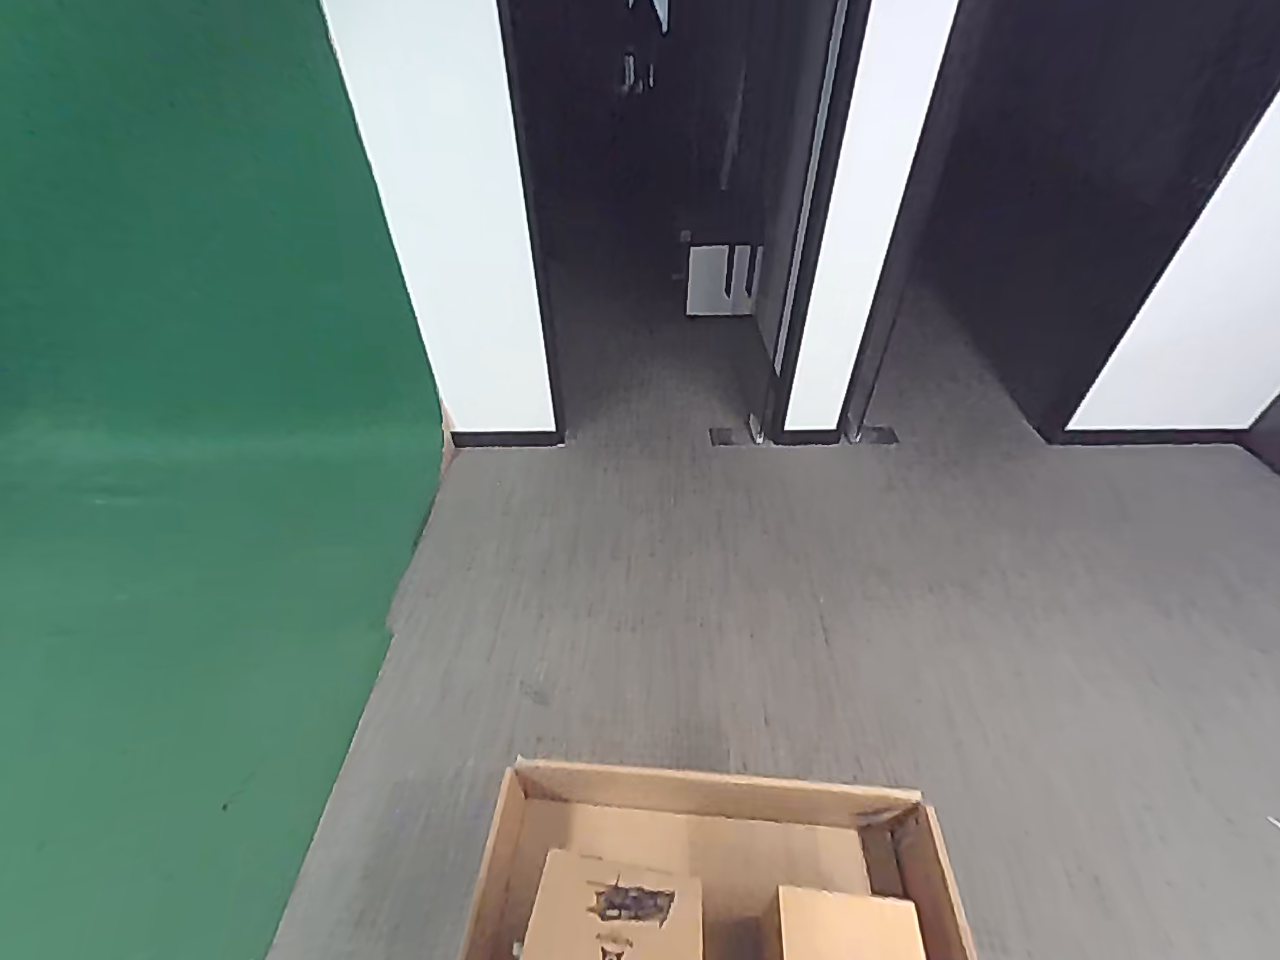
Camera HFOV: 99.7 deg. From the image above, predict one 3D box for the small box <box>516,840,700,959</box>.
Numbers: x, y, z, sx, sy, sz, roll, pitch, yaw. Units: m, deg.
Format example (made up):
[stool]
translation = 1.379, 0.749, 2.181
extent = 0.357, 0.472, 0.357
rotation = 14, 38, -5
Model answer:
[small box]
translation = -0.037, 0.504, 0.523
extent = 0.168, 0.176, 0.179
rotation = 9, 17, 4
